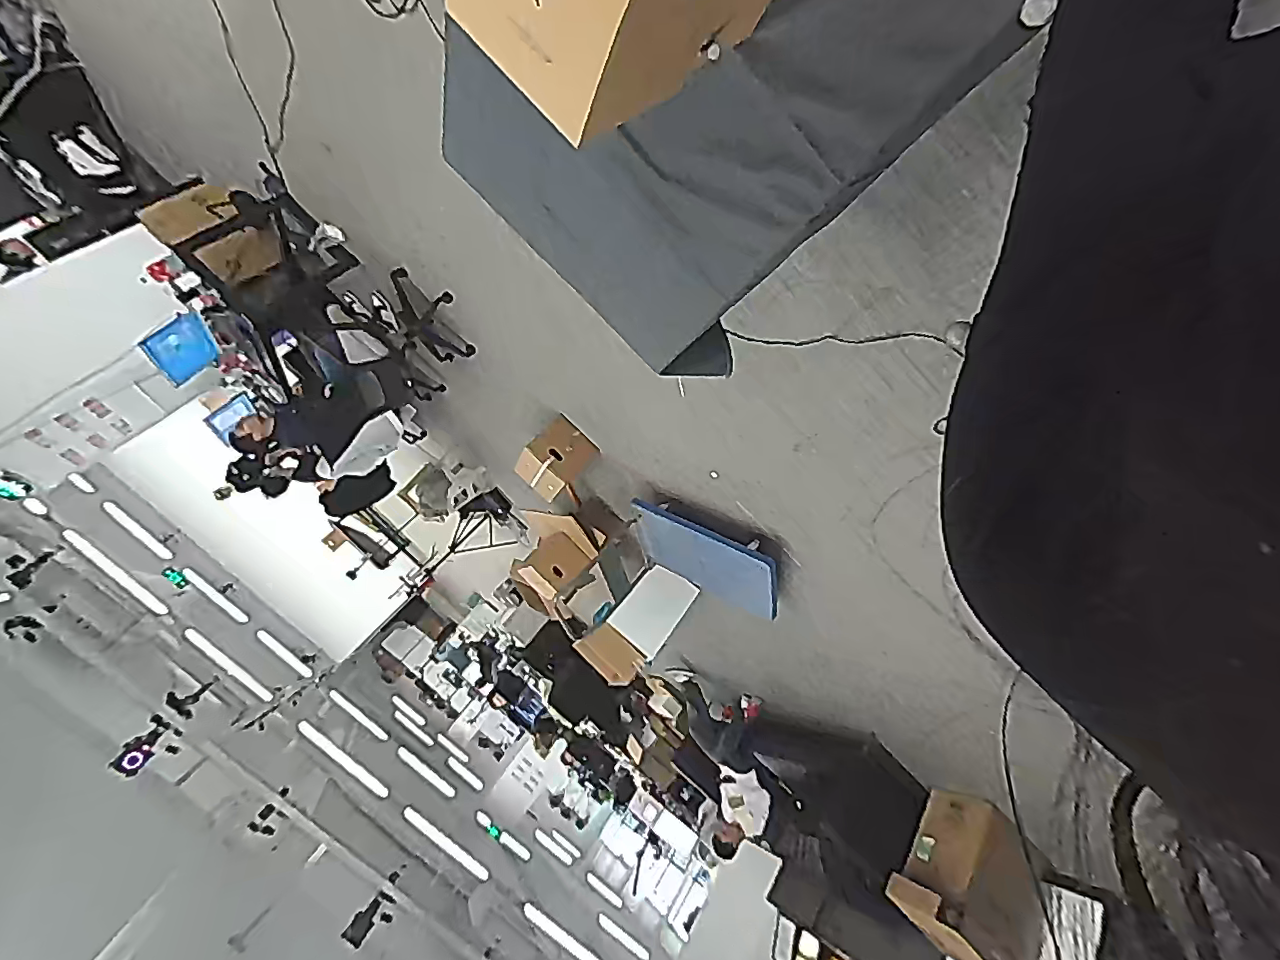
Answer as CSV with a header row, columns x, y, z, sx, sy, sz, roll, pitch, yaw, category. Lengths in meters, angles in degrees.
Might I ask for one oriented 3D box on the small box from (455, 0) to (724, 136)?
x,y,z,sx,sy,sz,roll,pitch,yaw,category
-0.025,-0.440,0.439,0.168,0.176,0.179,45,153,-5,small box
